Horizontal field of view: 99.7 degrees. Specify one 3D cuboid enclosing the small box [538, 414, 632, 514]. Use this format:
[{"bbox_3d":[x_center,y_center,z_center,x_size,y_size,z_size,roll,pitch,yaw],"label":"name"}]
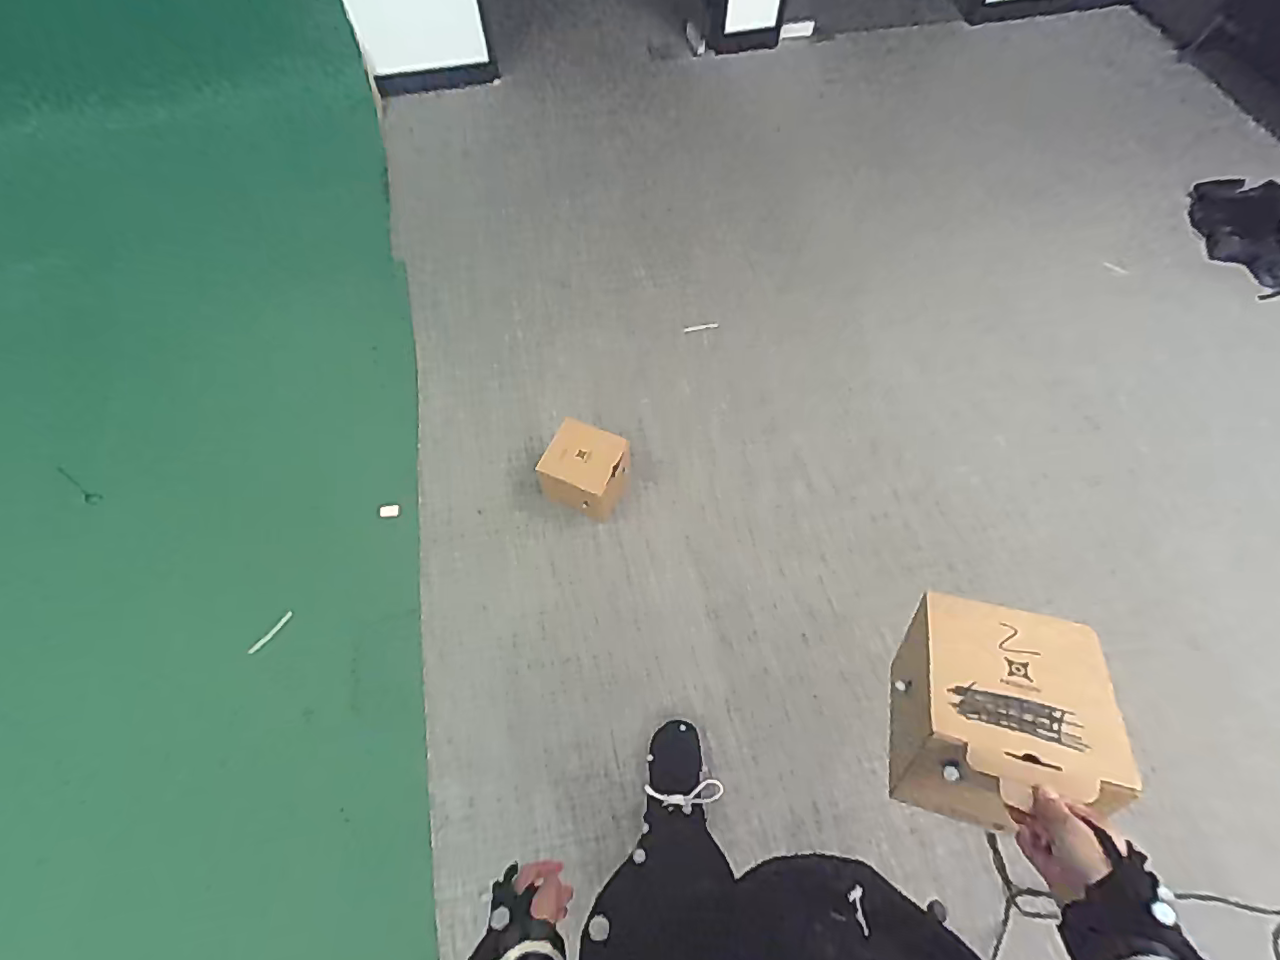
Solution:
[{"bbox_3d":[-0.129,-0.032,1.357,0.179,0.176,0.168,21,65,11],"label":"small box"}]
